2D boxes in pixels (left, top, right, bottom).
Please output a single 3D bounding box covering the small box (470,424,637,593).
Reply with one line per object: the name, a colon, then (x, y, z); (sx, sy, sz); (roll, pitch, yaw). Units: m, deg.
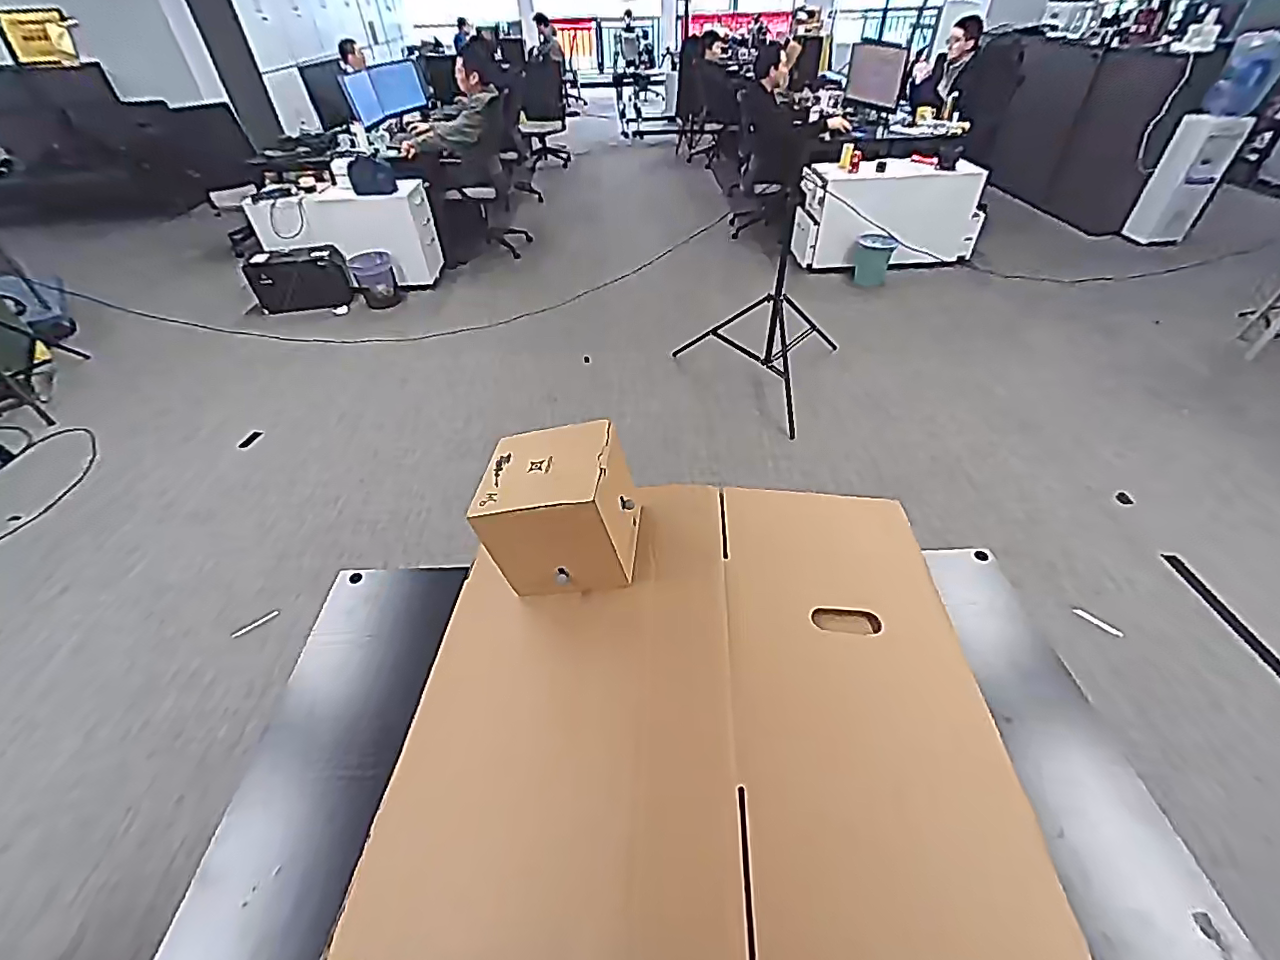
small box: (-0.108, 0.045, 0.778); (0.179, 0.176, 0.168); (-8, 40, 13)
